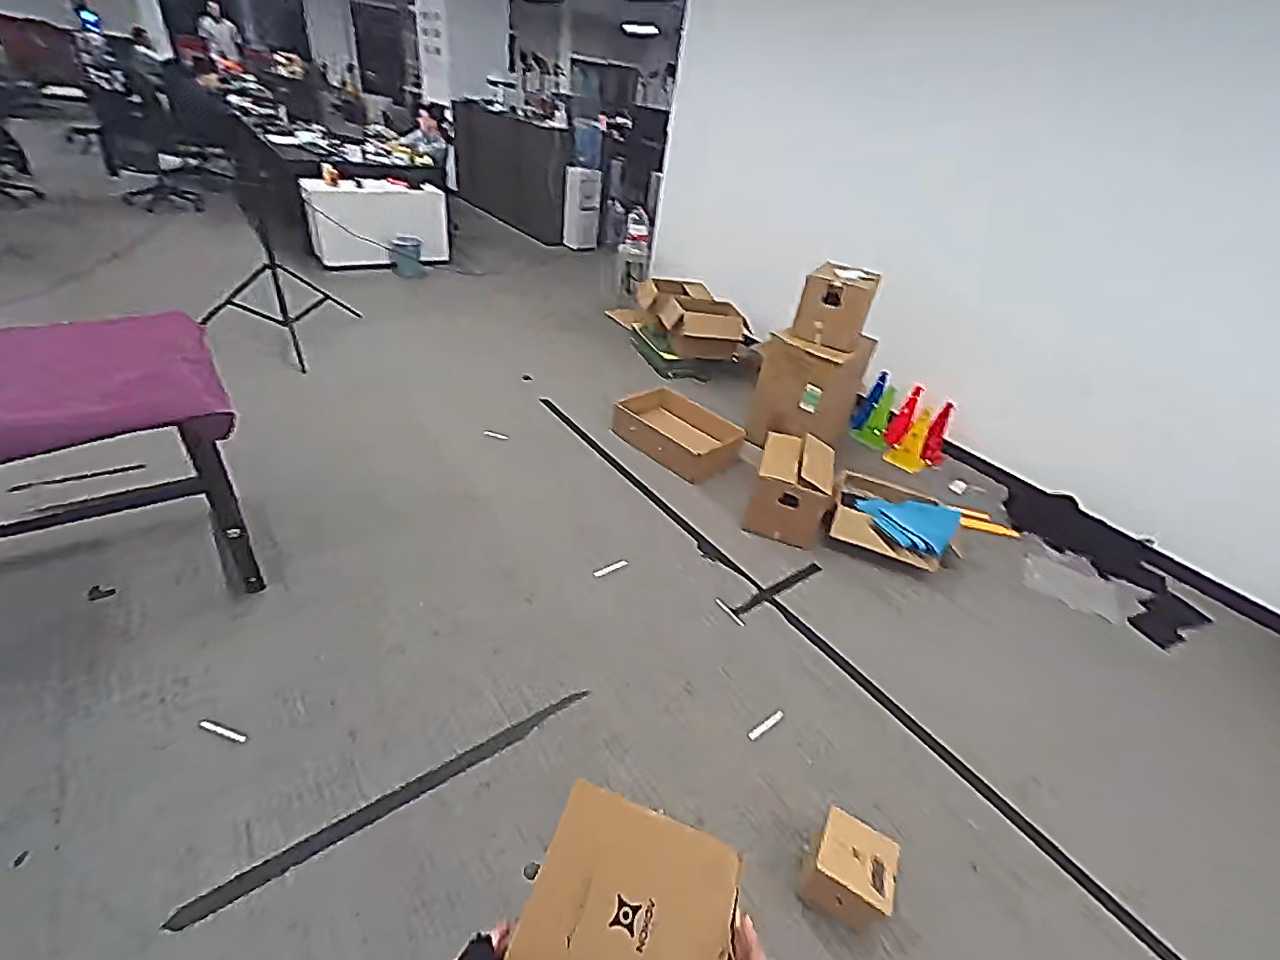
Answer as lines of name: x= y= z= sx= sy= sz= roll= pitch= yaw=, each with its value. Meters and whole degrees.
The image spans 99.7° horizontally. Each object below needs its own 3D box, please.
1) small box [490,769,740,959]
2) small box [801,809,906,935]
small box: x=-0.025 y=0.411 z=0.511 sx=0.179 sy=0.176 sz=0.168 roll=19 pitch=46 yaw=8
small box: x=0.517 y=0.959 z=1.318 sx=0.179 sy=0.176 sz=0.168 roll=24 pitch=37 yaw=21
